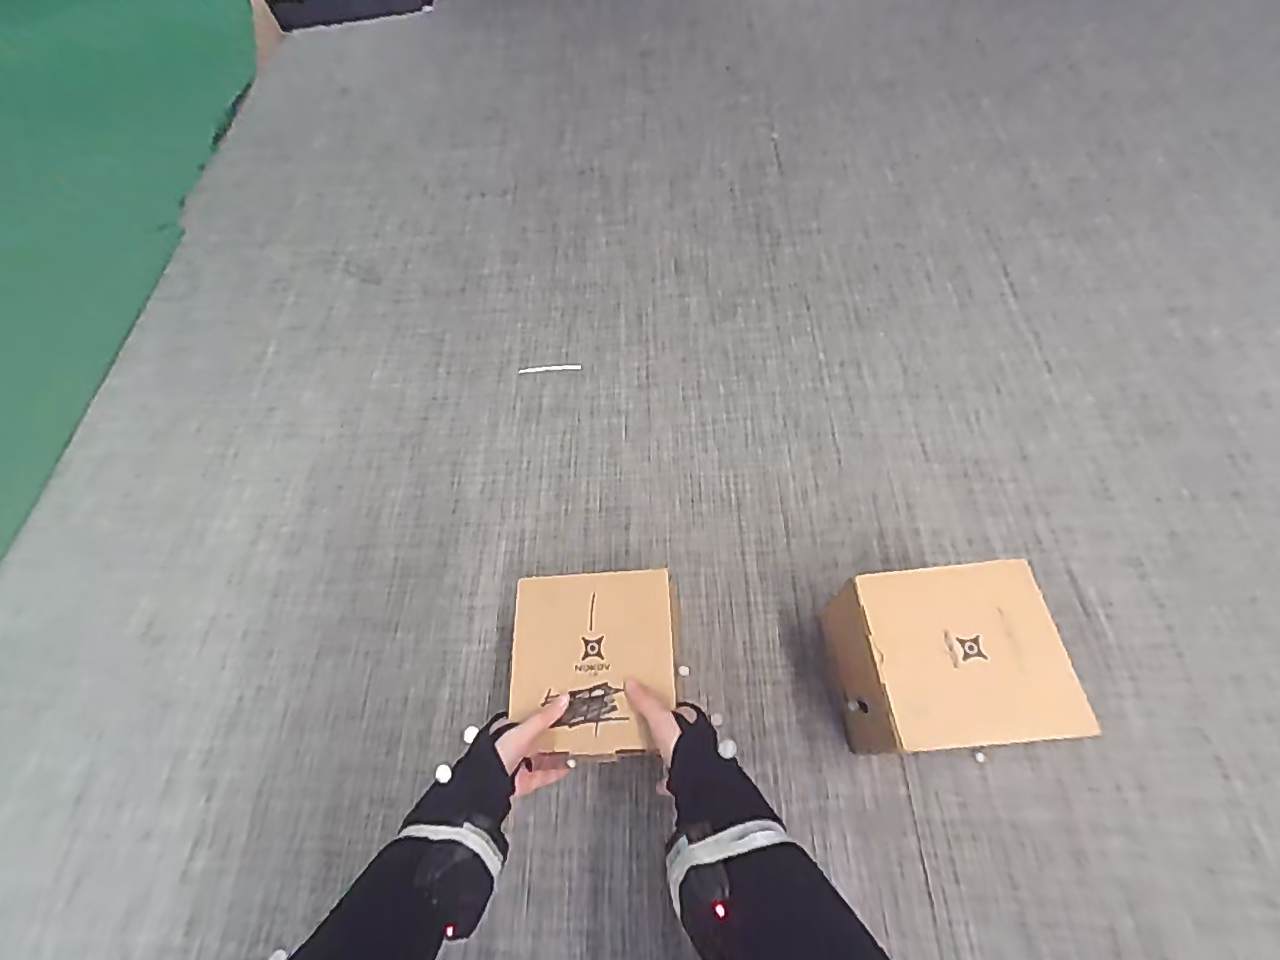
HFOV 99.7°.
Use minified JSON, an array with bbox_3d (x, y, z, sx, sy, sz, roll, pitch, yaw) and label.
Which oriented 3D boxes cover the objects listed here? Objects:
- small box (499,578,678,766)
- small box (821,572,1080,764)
[{"bbox_3d":[-0.048,0.223,0.618,0.168,0.176,0.179,-5,62,6],"label":"small box"},{"bbox_3d":[0.307,0.211,0.588,0.179,0.176,0.168,-6,62,3],"label":"small box"}]
